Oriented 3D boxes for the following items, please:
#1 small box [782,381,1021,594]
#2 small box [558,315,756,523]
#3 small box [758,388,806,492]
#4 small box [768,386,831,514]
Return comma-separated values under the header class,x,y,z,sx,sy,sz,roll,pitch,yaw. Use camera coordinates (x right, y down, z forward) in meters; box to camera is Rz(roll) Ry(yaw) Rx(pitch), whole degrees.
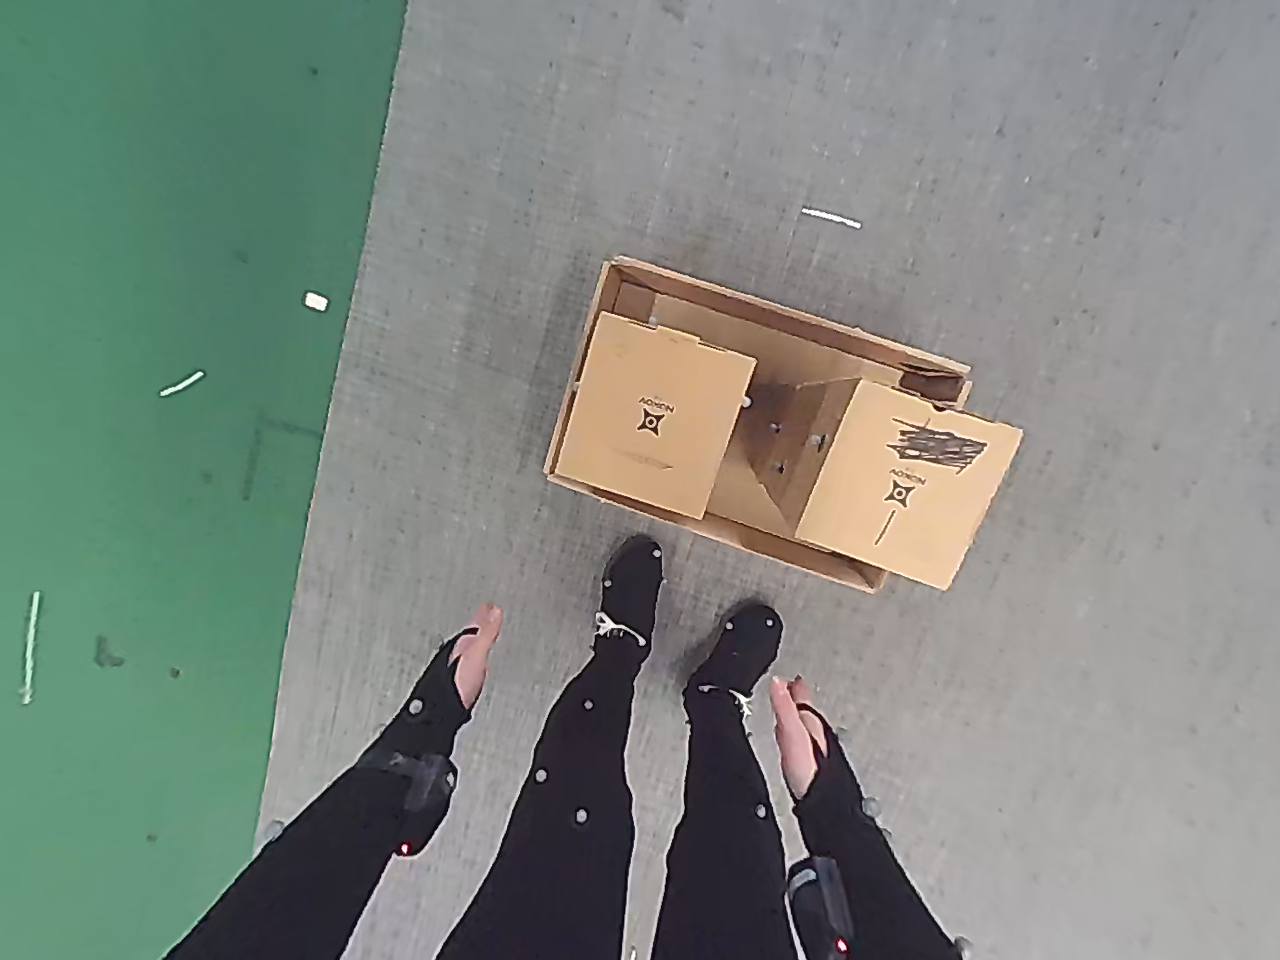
class,x,y,z,sx,sy,sz,roll,pitch,yaw
small box,0.274,-0.003,0.618,0.168,0.176,0.179,20,102,4
small box,0.021,-0.074,0.633,0.168,0.176,0.179,18,102,2
small box,0.312,-0.050,0.941,0.168,0.176,0.179,20,101,4
small box,0.293,-0.026,0.780,0.168,0.176,0.179,20,101,4
